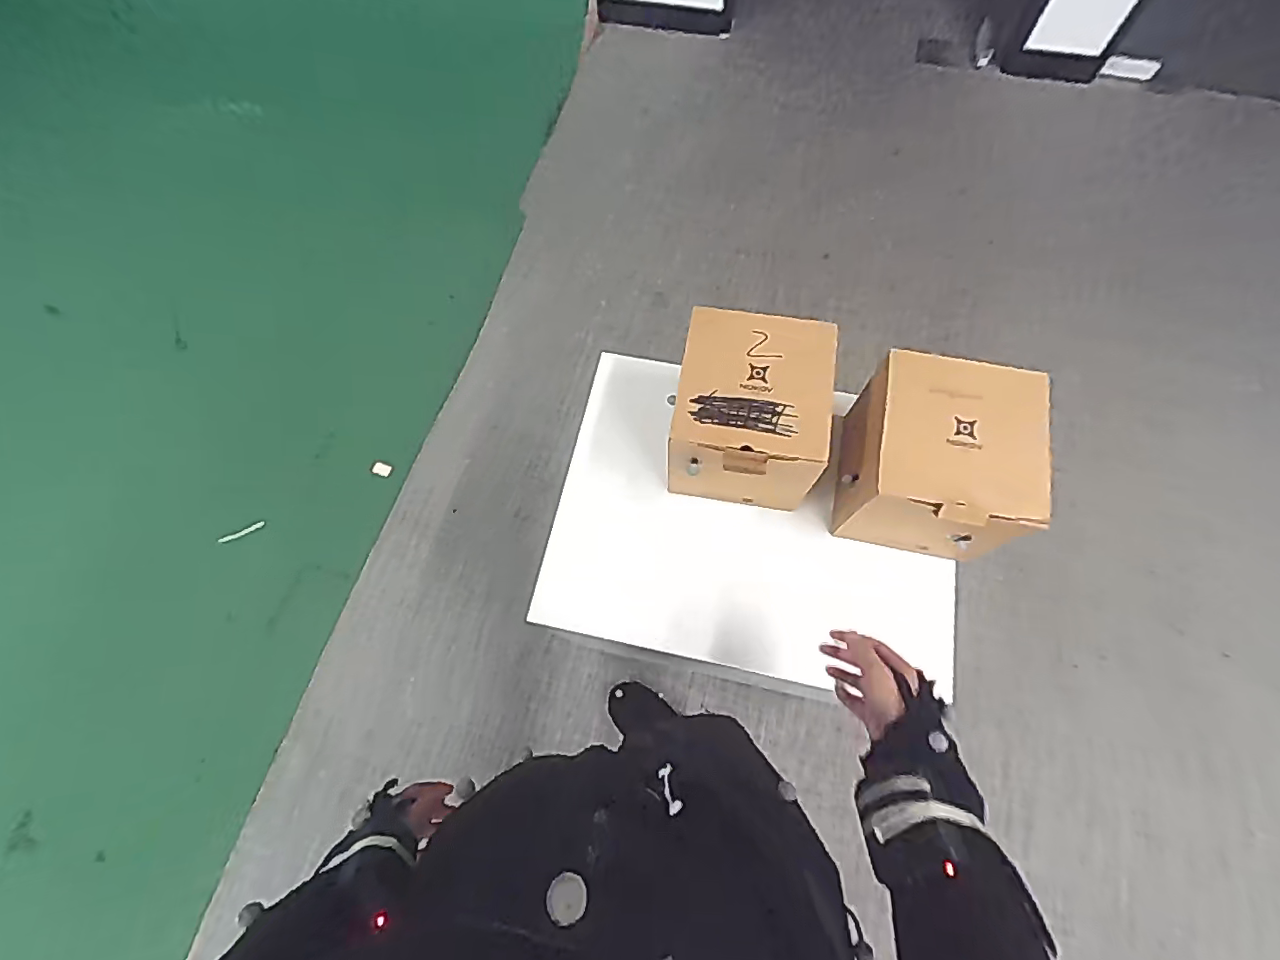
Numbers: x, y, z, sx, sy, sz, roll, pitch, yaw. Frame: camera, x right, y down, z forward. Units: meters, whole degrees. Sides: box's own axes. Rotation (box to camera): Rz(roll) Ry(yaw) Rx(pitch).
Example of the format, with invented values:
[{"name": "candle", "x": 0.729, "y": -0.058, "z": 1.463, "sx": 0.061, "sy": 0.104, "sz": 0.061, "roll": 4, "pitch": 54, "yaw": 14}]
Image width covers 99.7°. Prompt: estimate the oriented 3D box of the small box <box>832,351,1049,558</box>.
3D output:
[{"name": "small box", "x": 0.333, "y": -0.020, "z": 0.626, "sx": 0.168, "sy": 0.176, "sz": 0.179, "roll": 11, "pitch": 70, "yaw": 6}]
